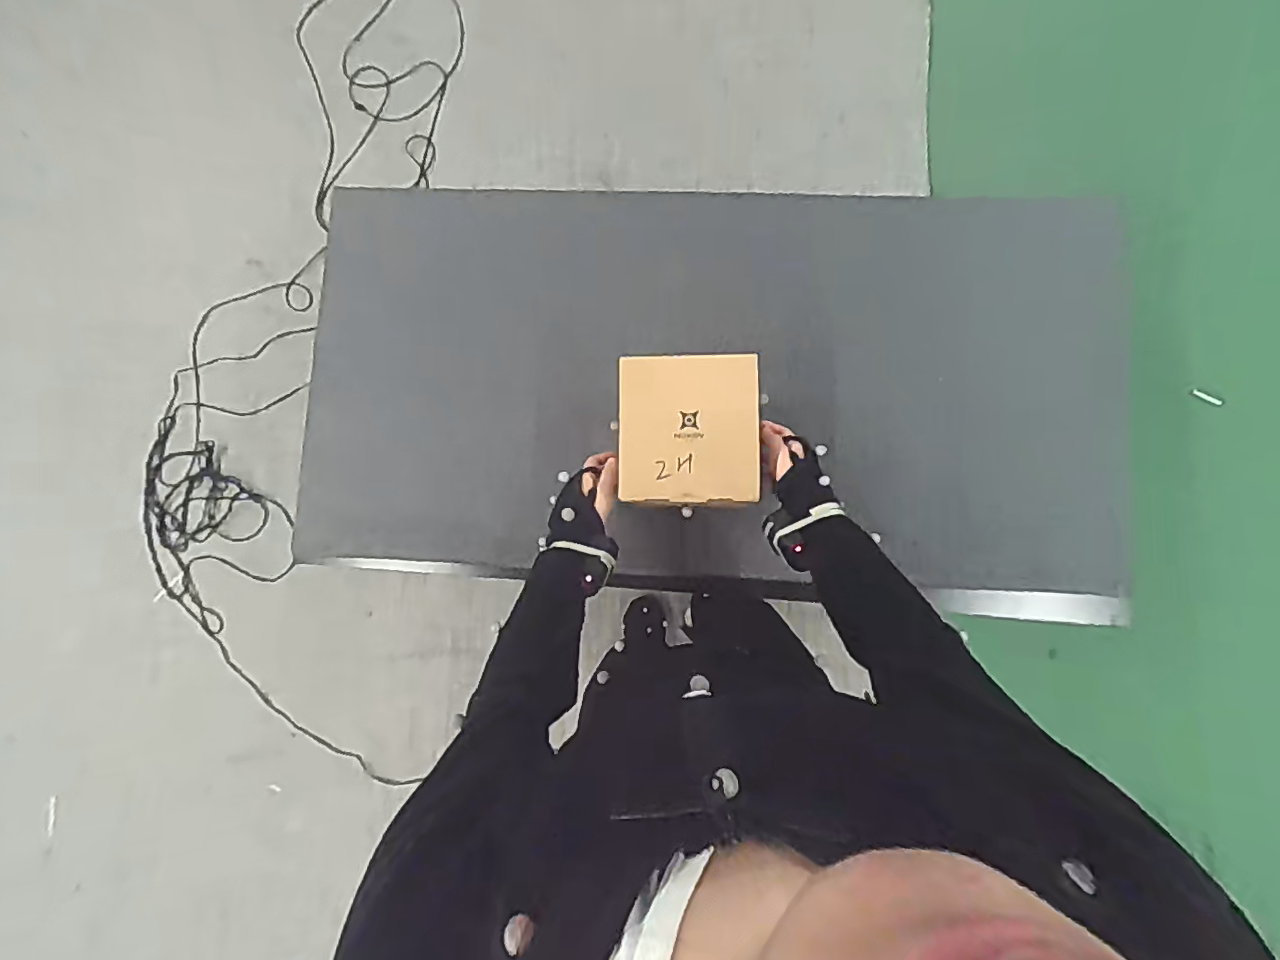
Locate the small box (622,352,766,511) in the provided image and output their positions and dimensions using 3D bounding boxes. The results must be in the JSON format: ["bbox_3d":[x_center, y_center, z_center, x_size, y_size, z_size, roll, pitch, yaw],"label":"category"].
[{"bbox_3d":[0.067,-0.053,0.698,0.168,0.176,0.179,0,85,5],"label":"small box"}]
